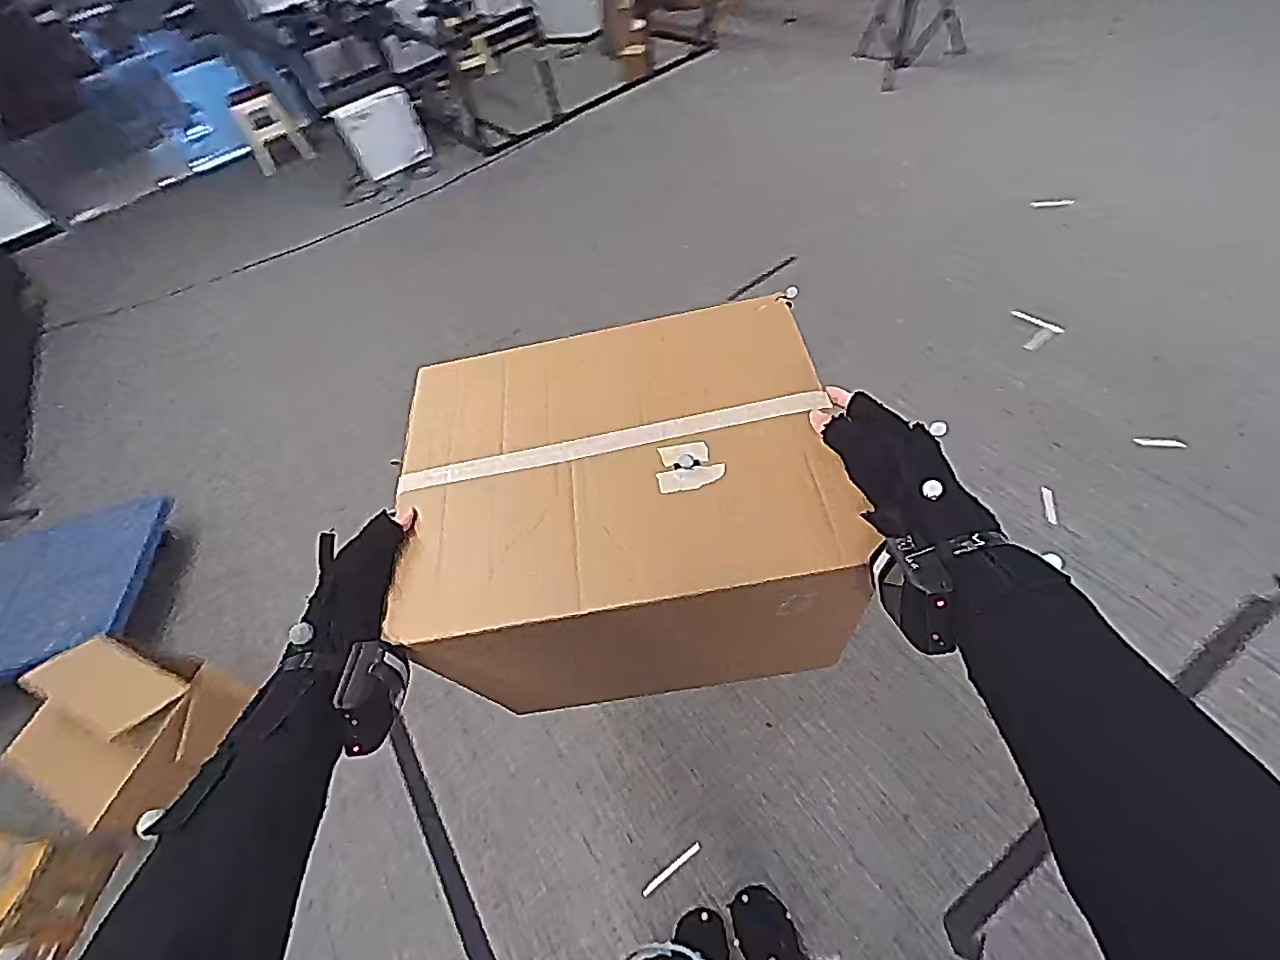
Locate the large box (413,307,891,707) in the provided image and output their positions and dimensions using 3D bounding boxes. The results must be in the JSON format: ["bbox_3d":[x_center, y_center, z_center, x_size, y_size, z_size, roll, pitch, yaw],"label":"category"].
[{"bbox_3d":[0.009,0.051,0.639,0.408,0.320,0.320,-10,57,4],"label":"large box"}]
